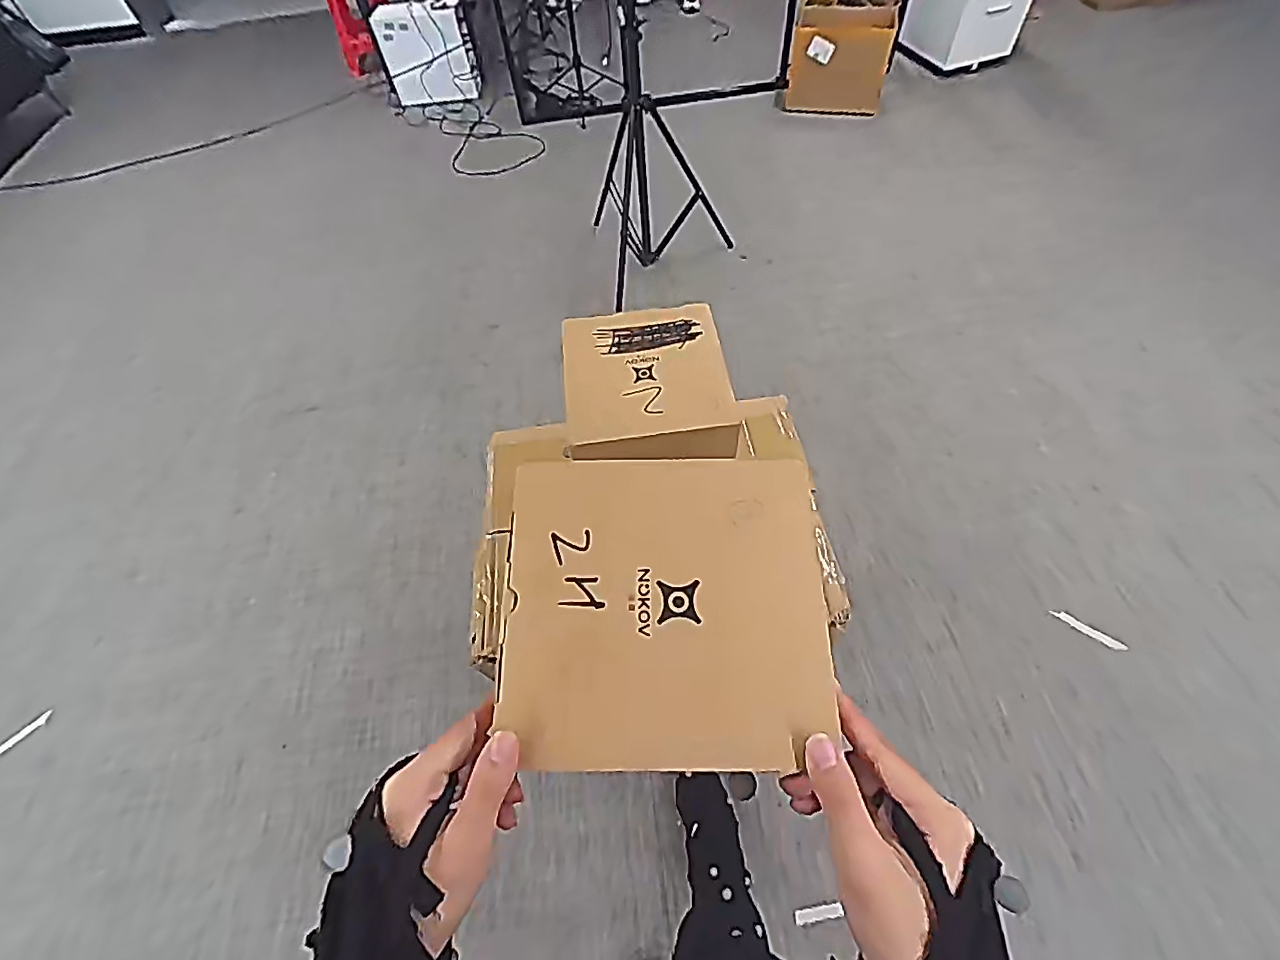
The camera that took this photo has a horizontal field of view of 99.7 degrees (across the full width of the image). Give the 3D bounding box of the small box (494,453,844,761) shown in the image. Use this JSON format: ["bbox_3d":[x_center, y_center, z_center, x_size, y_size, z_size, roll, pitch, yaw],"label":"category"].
[{"bbox_3d":[0.016,0.089,0.368,0.179,0.176,0.168,-1,68,2],"label":"small box"}]

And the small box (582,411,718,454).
[{"bbox_3d":[0.020,0.029,0.752,0.179,0.176,0.168,-7,57,0],"label":"small box"}]
